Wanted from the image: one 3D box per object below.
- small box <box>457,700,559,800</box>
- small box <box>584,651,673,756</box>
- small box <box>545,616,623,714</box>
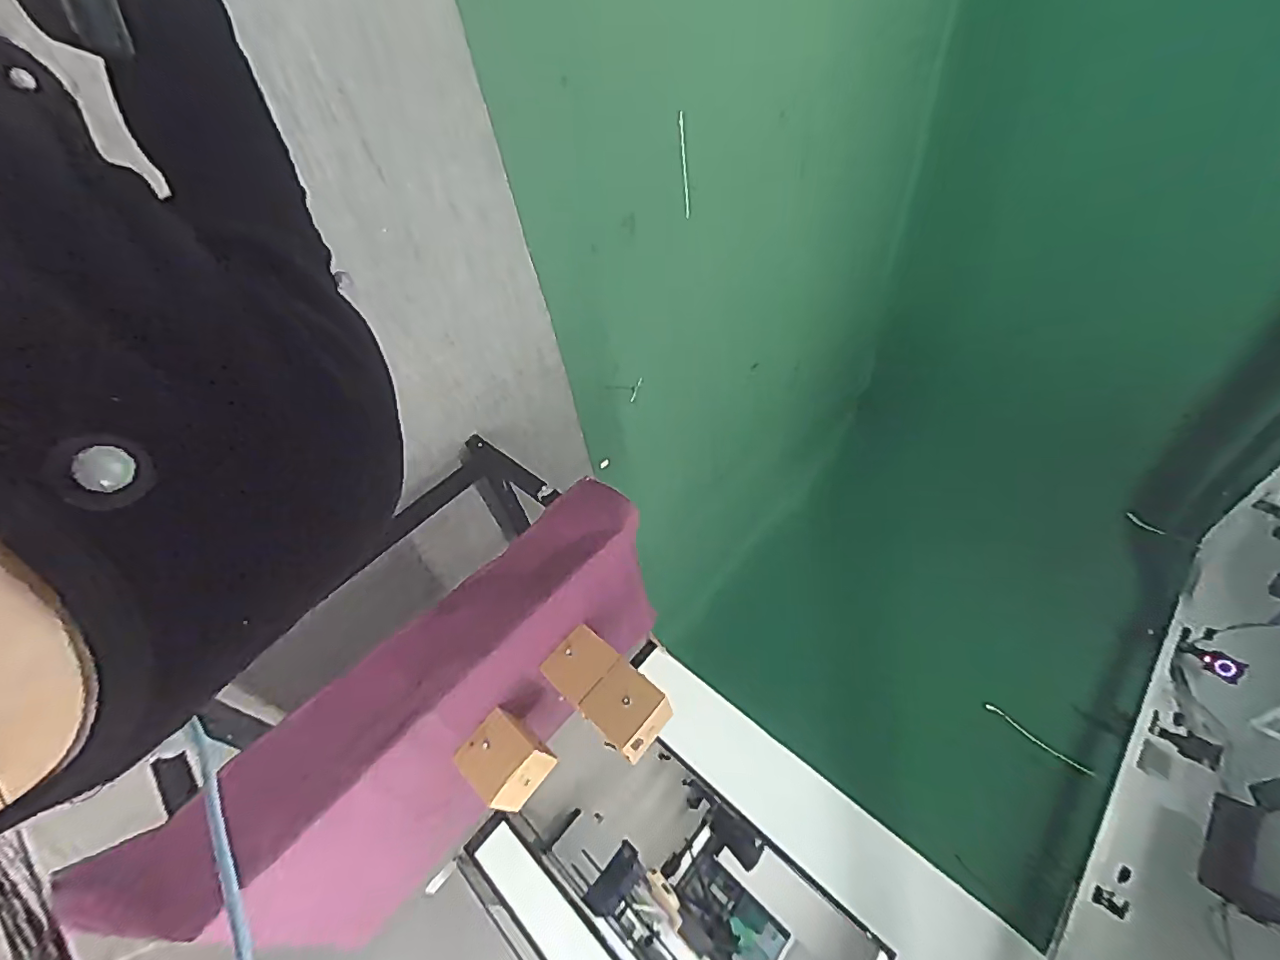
[{"bbox_3d":[-0.355,0.726,1.459,0.168,0.176,0.179,-47,146,-17],"label":"small box"},{"bbox_3d":[-0.036,0.609,1.481,0.179,0.176,0.168,-44,145,-22],"label":"small box"},{"bbox_3d":[-0.153,0.535,1.568,0.179,0.176,0.168,-43,146,-21],"label":"small box"}]
